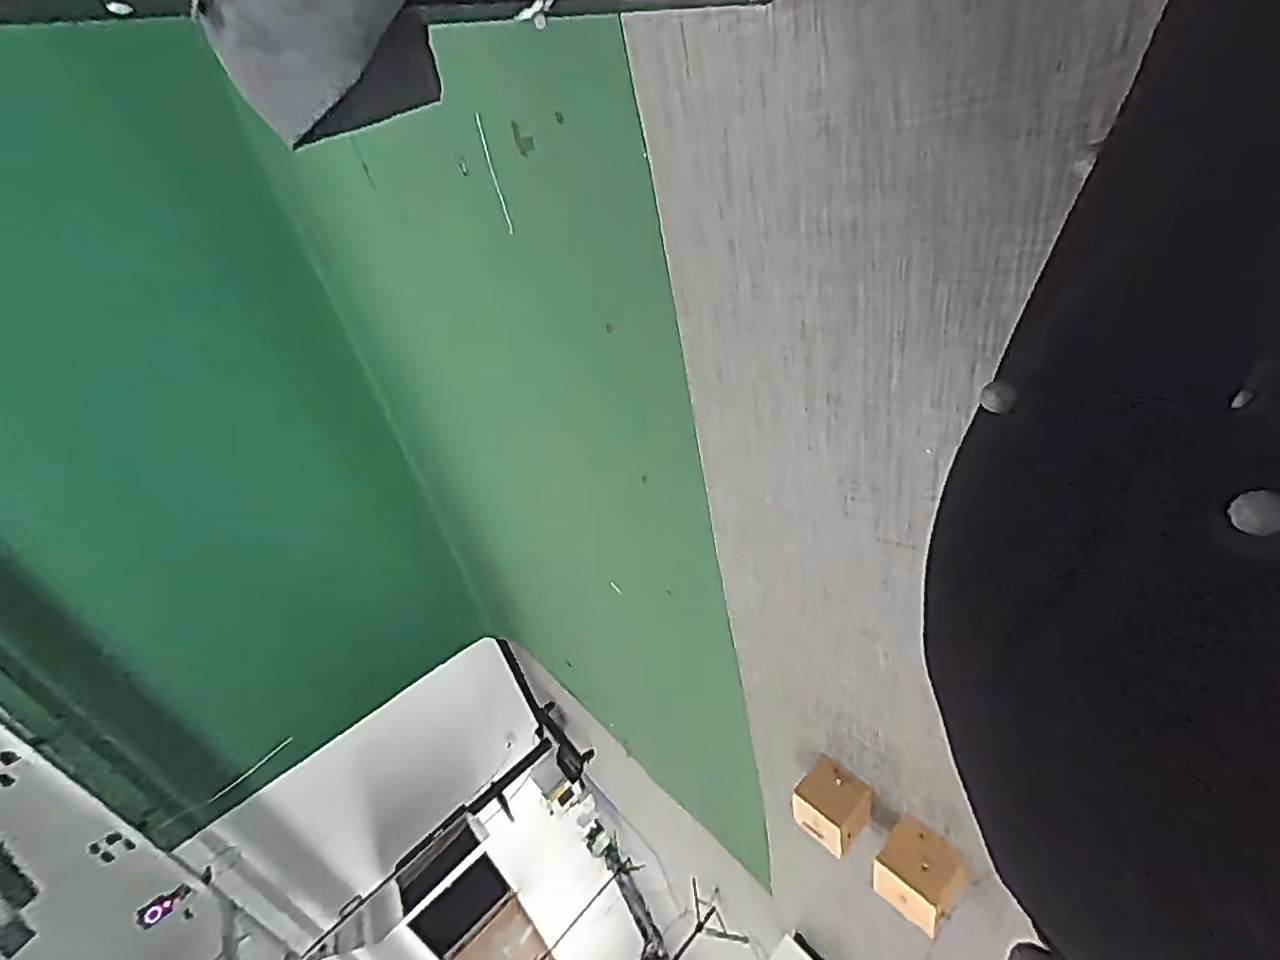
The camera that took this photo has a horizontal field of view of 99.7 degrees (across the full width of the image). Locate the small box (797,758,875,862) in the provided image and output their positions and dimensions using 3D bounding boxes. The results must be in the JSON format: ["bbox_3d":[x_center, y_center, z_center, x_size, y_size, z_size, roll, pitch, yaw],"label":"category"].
[{"bbox_3d":[0.605,1.008,1.664,0.168,0.176,0.179,22,134,47],"label":"small box"}]

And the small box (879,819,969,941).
[{"bbox_3d":[0.775,1.082,1.477,0.168,0.176,0.179,21,135,47],"label":"small box"}]
